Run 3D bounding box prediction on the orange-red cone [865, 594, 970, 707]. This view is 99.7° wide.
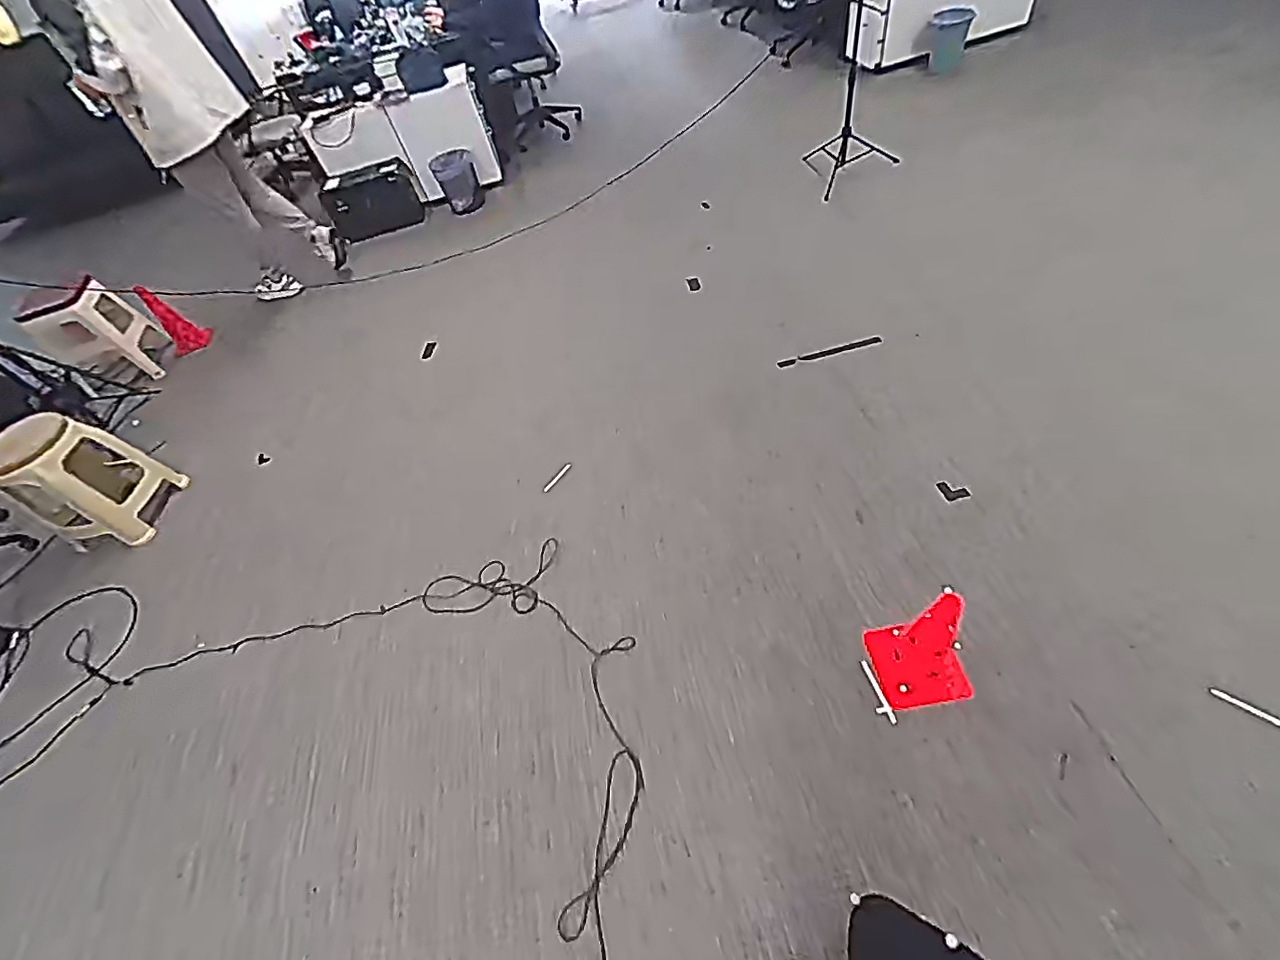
[{"bbox_3d":[0.646,0.345,1.197,0.199,0.360,0.198,-10,51,4],"label":"orange-red cone"}]
